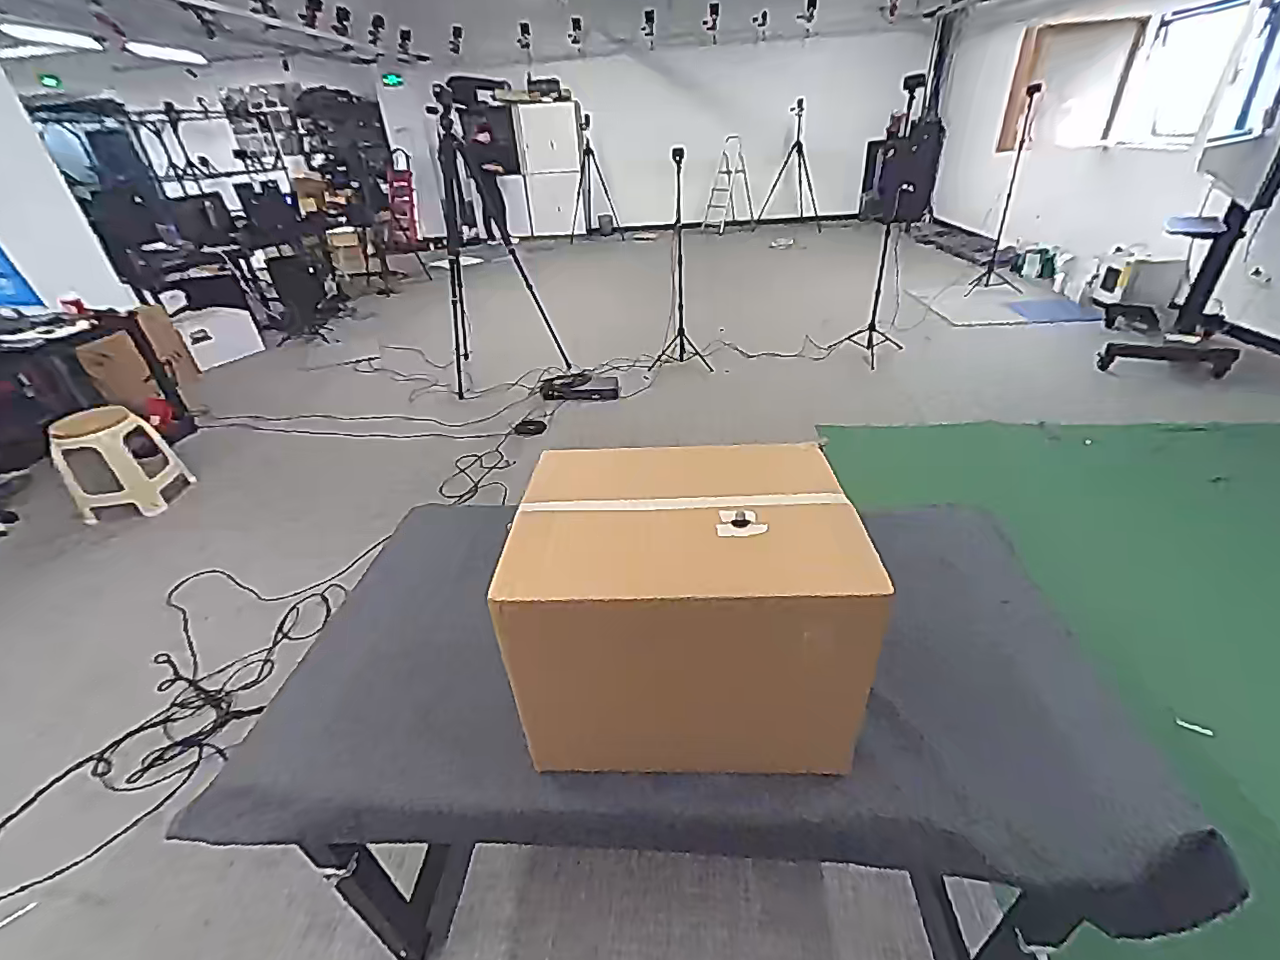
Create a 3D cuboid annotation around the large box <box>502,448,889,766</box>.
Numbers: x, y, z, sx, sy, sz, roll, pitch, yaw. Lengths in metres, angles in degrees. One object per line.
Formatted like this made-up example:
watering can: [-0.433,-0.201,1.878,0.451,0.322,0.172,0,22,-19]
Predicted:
large box: [0.061,0.164,0.749,0.408,0.320,0.320,-1,32,3]
